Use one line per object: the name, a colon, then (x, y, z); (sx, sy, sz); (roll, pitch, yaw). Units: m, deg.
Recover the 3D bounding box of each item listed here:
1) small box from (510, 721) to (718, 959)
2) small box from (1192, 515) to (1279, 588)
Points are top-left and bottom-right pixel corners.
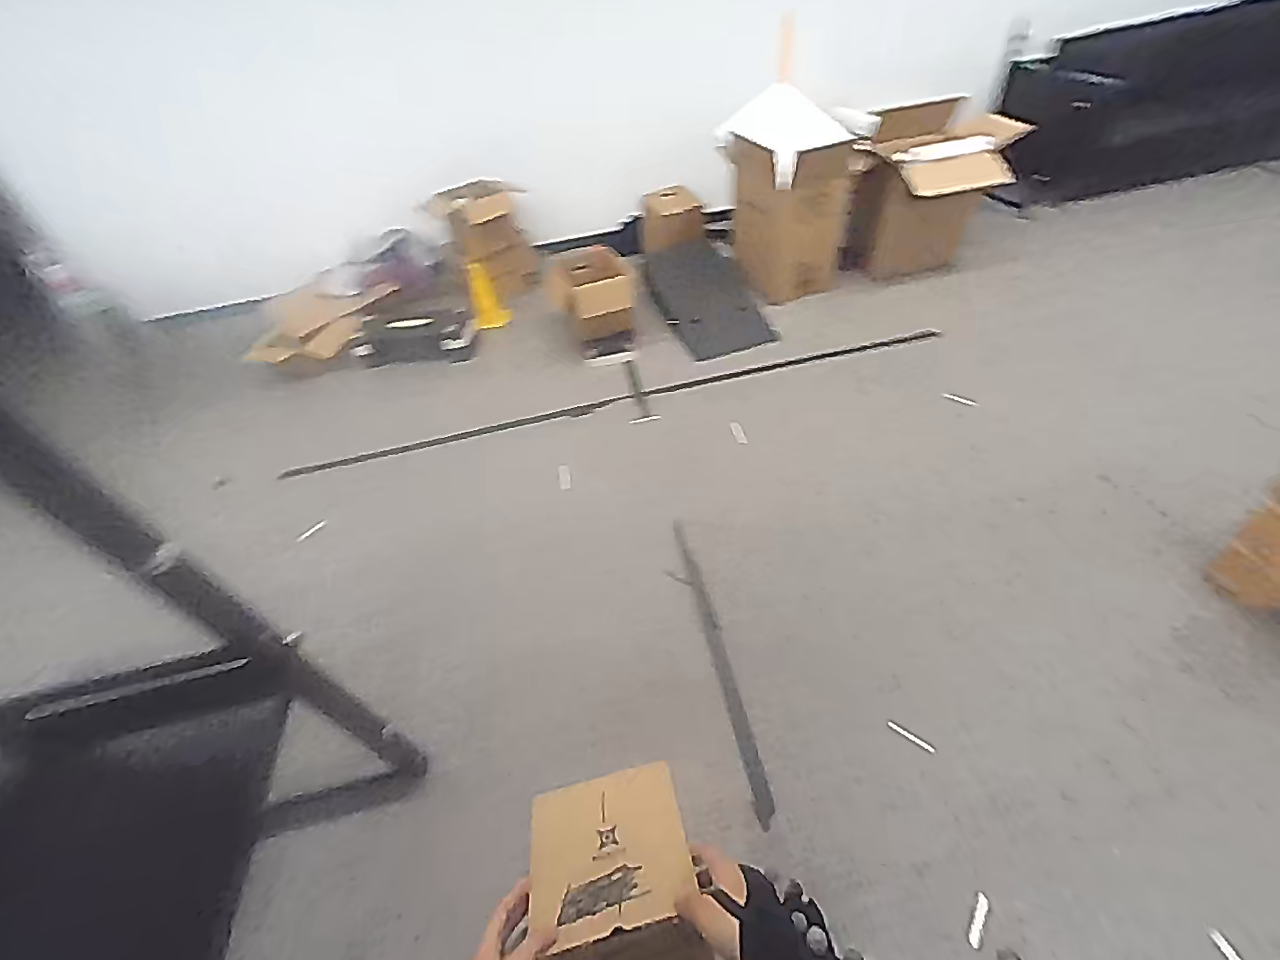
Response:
small box: (-0.026, 0.393, 0.557); (0.168, 0.176, 0.179); (-12, 20, -5)
small box: (1.858, 0.203, 1.633); (0.179, 0.176, 0.168); (-10, 45, -3)
